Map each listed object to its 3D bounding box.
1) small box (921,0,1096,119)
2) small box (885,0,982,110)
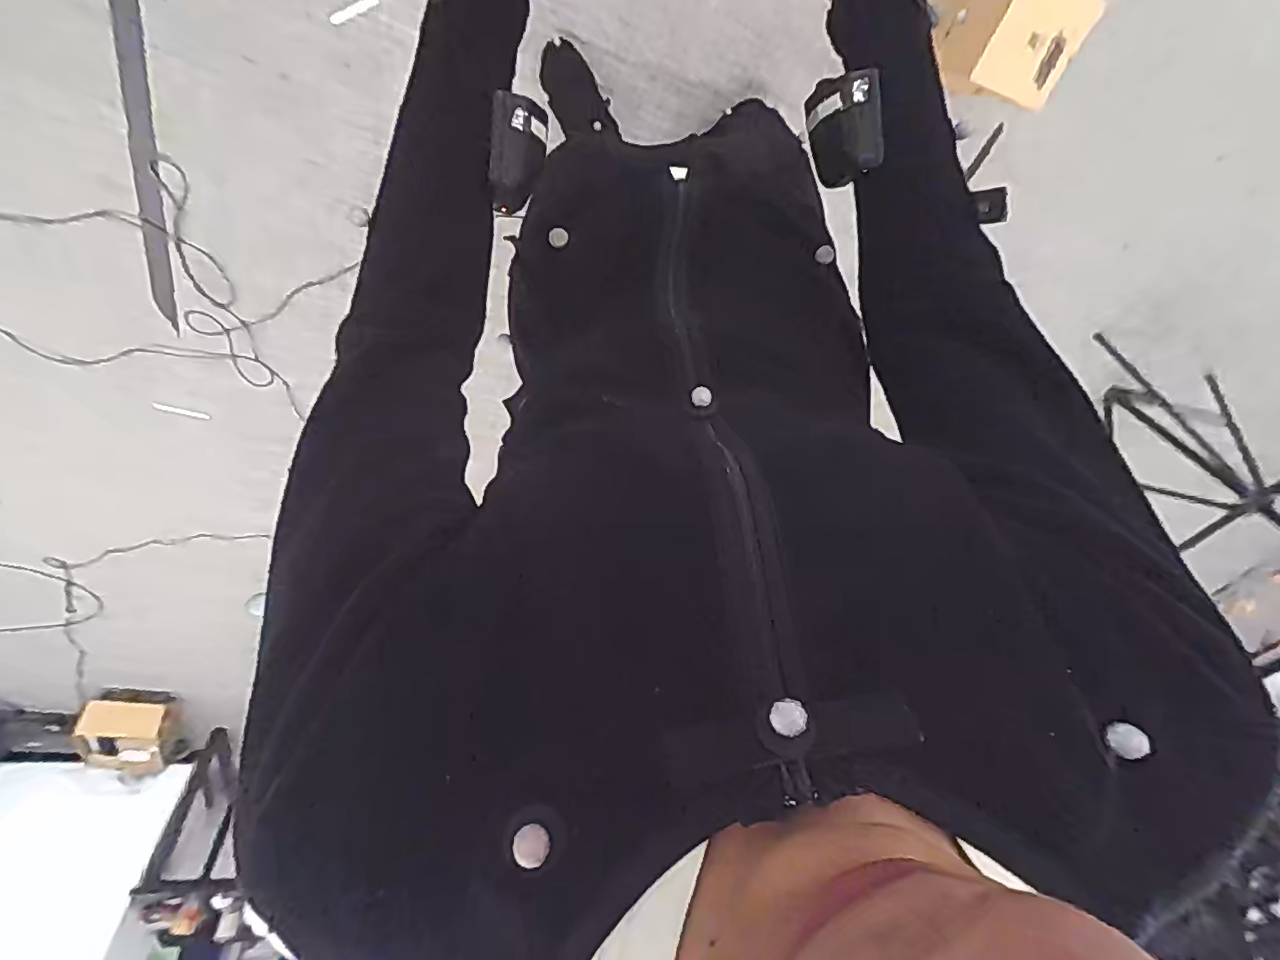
[{"bbox_3d":[0.689,-0.825,1.032,0.179,0.176,0.168,10,129,-17],"label":"small box"},{"bbox_3d":[0.671,-0.929,1.158,0.179,0.176,0.168,8,130,-16],"label":"small box"}]
